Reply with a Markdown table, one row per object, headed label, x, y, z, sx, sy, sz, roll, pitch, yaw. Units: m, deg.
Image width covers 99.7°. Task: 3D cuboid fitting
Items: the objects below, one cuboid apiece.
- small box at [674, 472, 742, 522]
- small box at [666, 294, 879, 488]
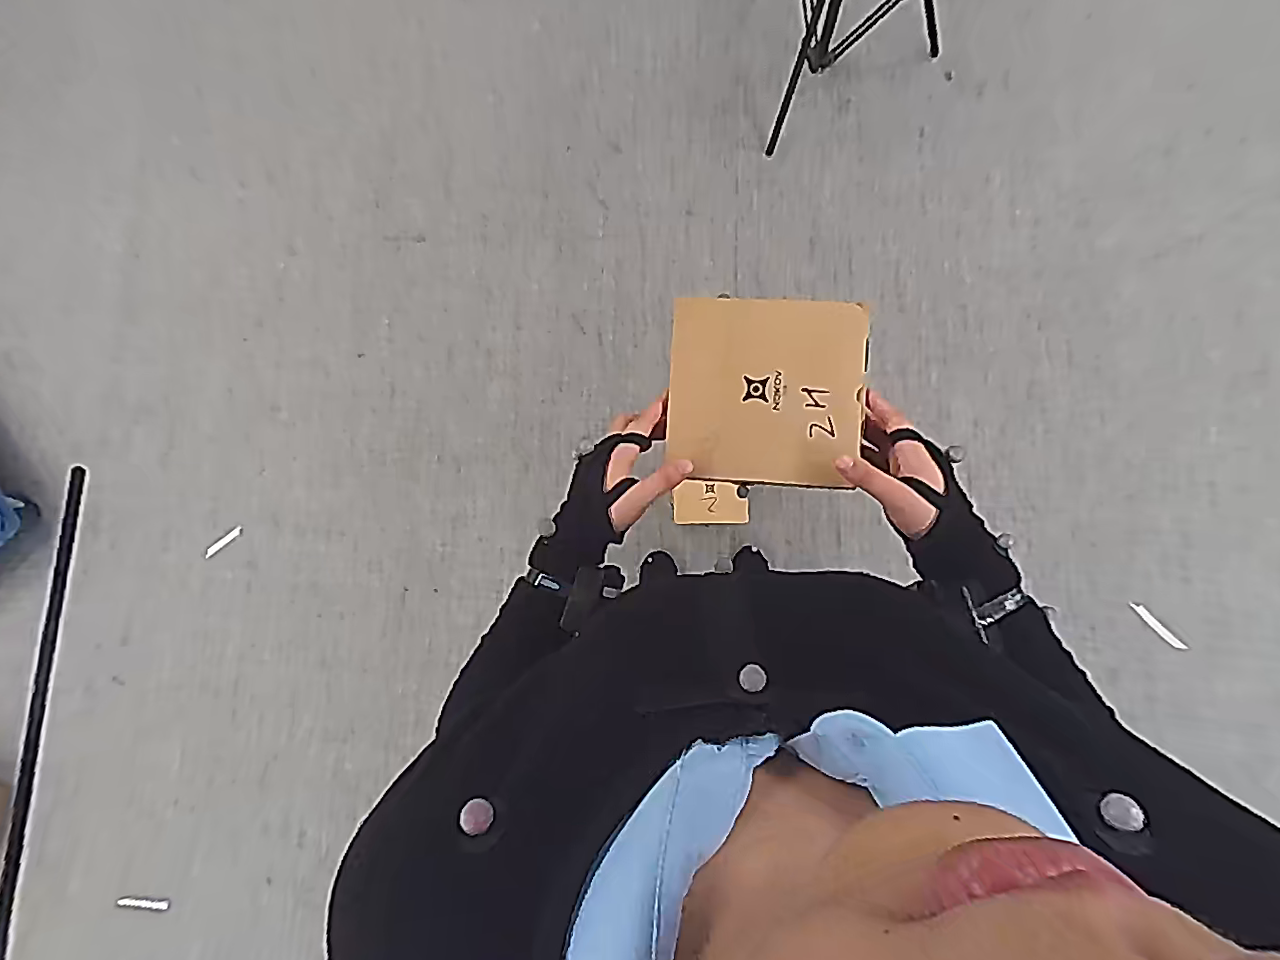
| label | x | y | z | sx | sy | sz | roll | pitch | yaw |
| --- | --- | --- | --- | --- | --- | --- | --- | --- | --- |
| small box | 0.176 | 0.018 | 1.447 | 0.168 | 0.176 | 0.179 | -4 | 83 | 4 |
| small box | 0.124 | -0.079 | 0.554 | 0.179 | 0.176 | 0.168 | 4 | 90 | 6 |
